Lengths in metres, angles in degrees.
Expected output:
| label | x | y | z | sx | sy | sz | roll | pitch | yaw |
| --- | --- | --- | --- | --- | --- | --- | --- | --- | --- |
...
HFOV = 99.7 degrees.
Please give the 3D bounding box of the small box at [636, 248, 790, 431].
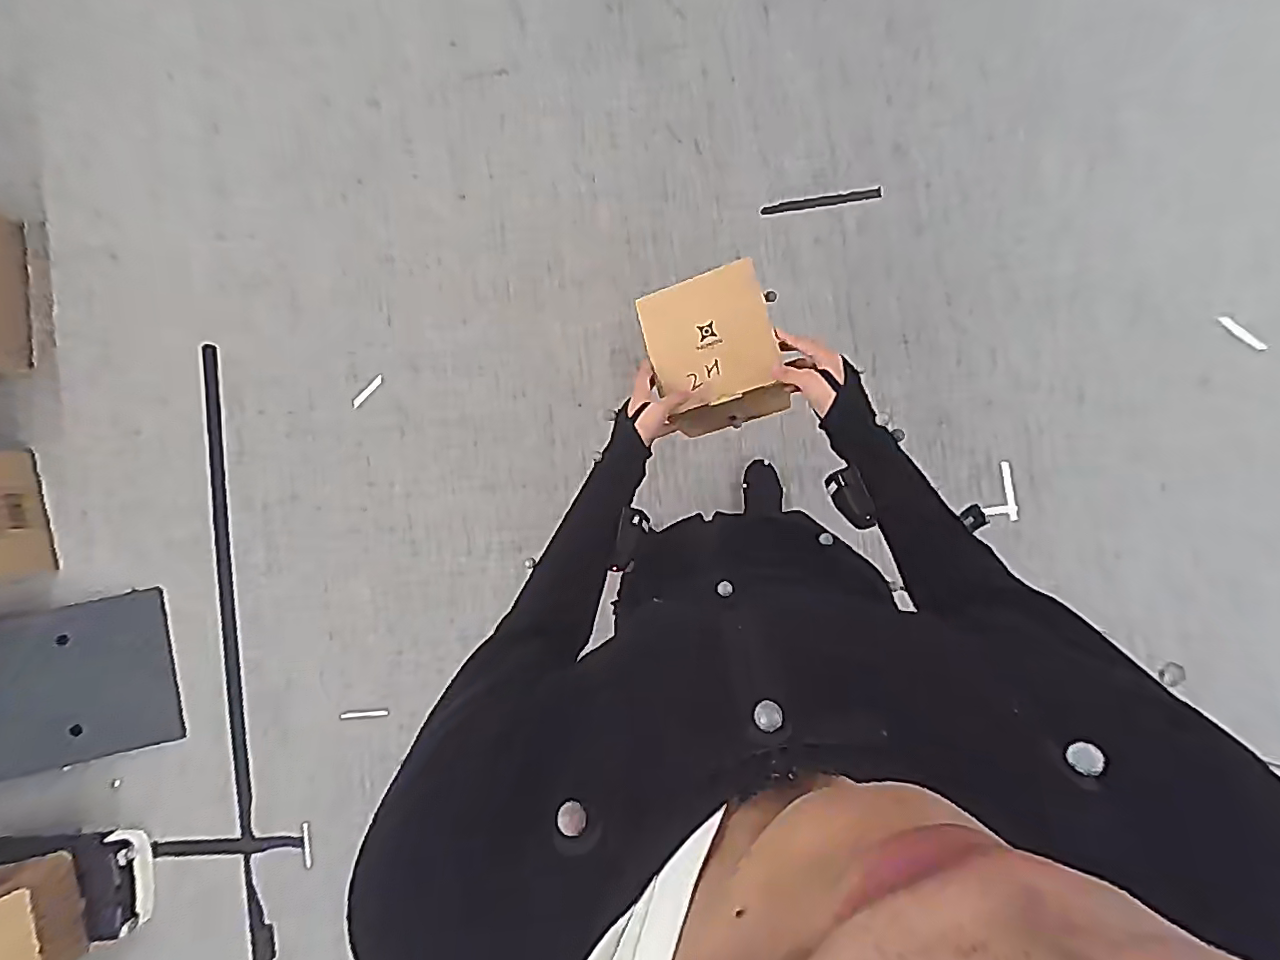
| label | x | y | z | sx | sy | sz | roll | pitch | yaw |
| --- | --- | --- | --- | --- | --- | --- | --- | --- | --- |
| small box | 0.110 | -0.184 | 0.767 | 0.168 | 0.176 | 0.179 | -16 | 80 | 15 |
